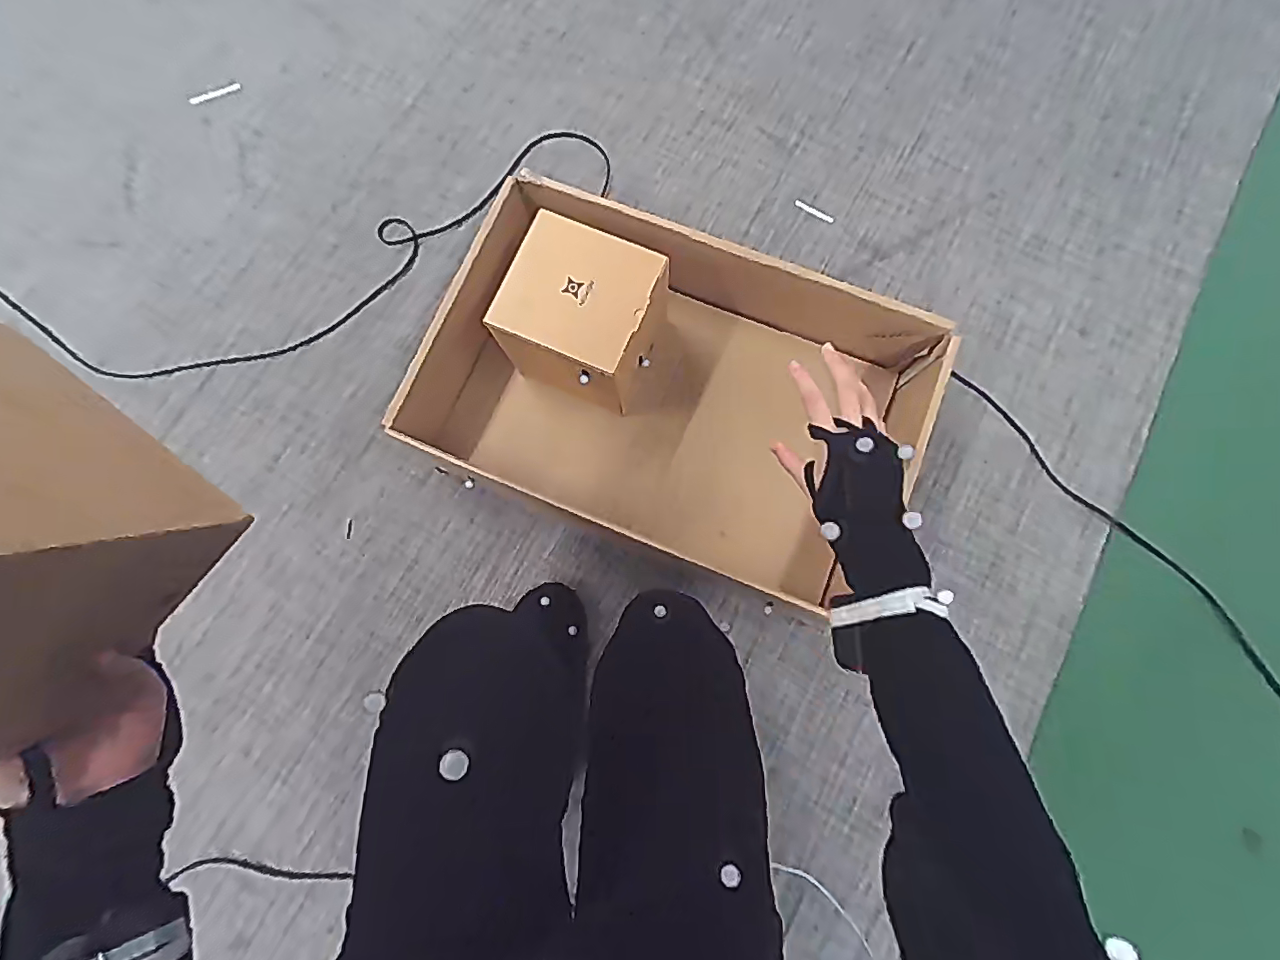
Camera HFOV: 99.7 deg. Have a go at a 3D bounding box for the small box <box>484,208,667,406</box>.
[{"bbox_3d":[-0.076,-0.218,0.727,0.179,0.176,0.168,23,82,4],"label":"small box"}]
